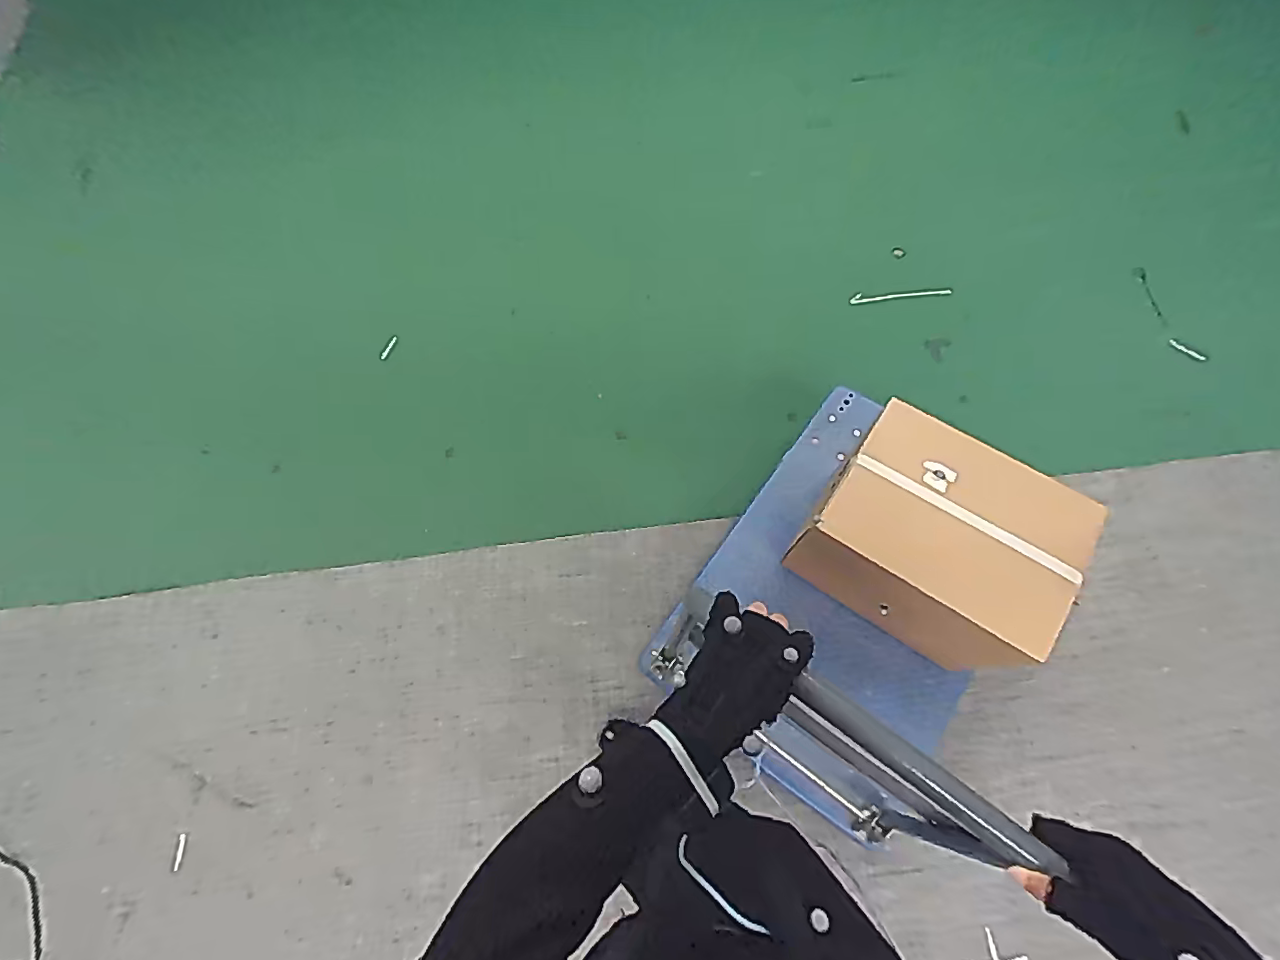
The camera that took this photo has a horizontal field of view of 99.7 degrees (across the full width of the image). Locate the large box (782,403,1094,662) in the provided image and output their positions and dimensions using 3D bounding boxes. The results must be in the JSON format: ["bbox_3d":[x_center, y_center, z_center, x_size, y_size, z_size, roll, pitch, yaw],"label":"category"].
[{"bbox_3d":[0.558,0.119,1.088,0.408,0.320,0.320,31,72,15],"label":"large box"}]
